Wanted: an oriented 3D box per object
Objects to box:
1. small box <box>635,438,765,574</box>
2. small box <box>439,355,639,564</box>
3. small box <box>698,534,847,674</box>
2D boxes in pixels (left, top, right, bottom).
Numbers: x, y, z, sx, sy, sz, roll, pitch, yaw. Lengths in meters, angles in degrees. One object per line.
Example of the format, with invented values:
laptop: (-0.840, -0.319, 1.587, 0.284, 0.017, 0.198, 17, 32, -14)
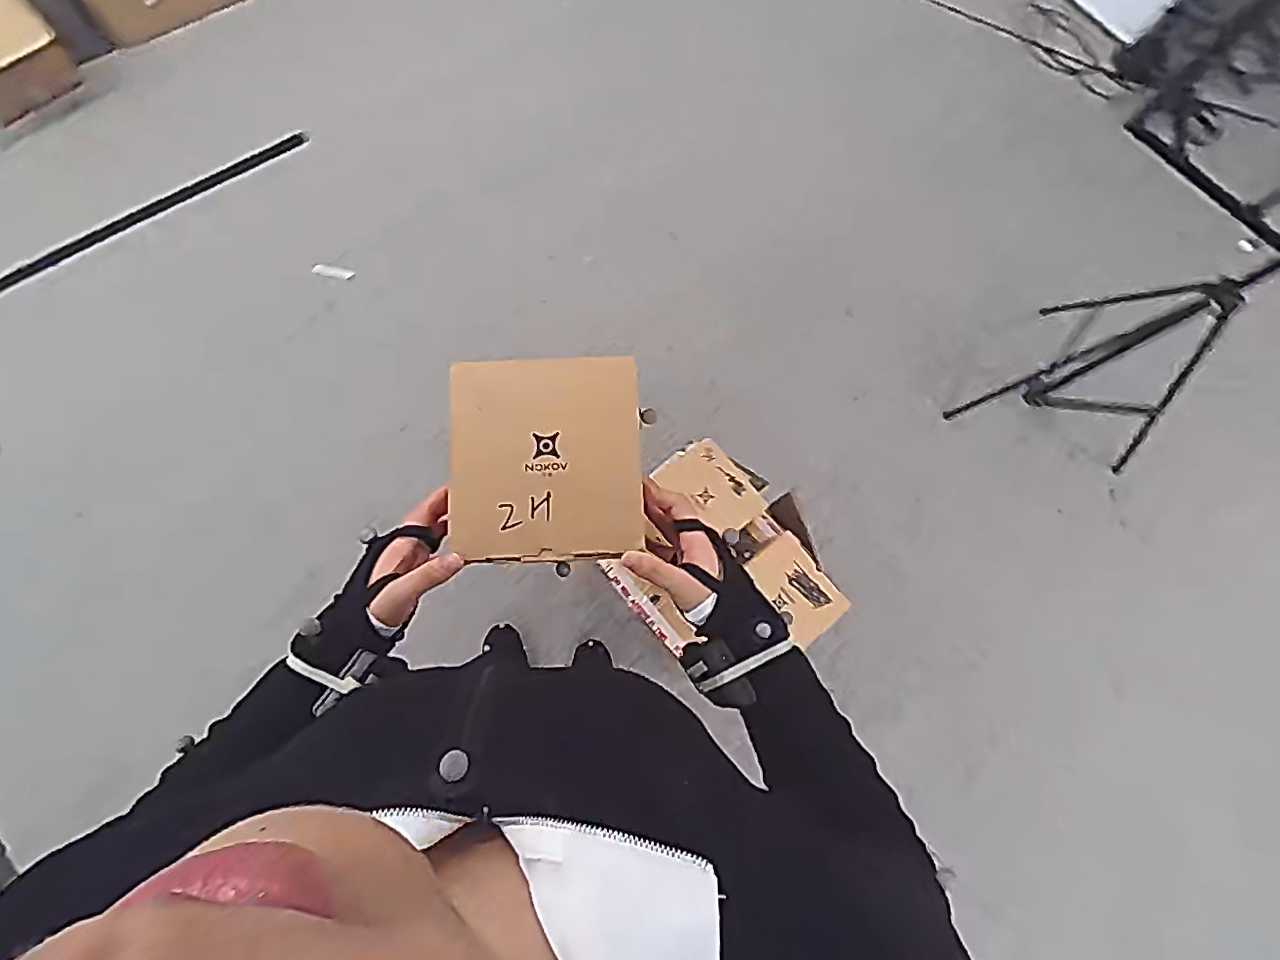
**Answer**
small box: (0.100, 0.058, 1.012, 0.179, 0.176, 0.168, -36, 79, -12)
small box: (-0.090, -0.008, 0.537, 0.168, 0.176, 0.179, -4, 82, -1)
small box: (0.228, 0.221, 0.979, 0.179, 0.176, 0.168, -37, 82, -12)
